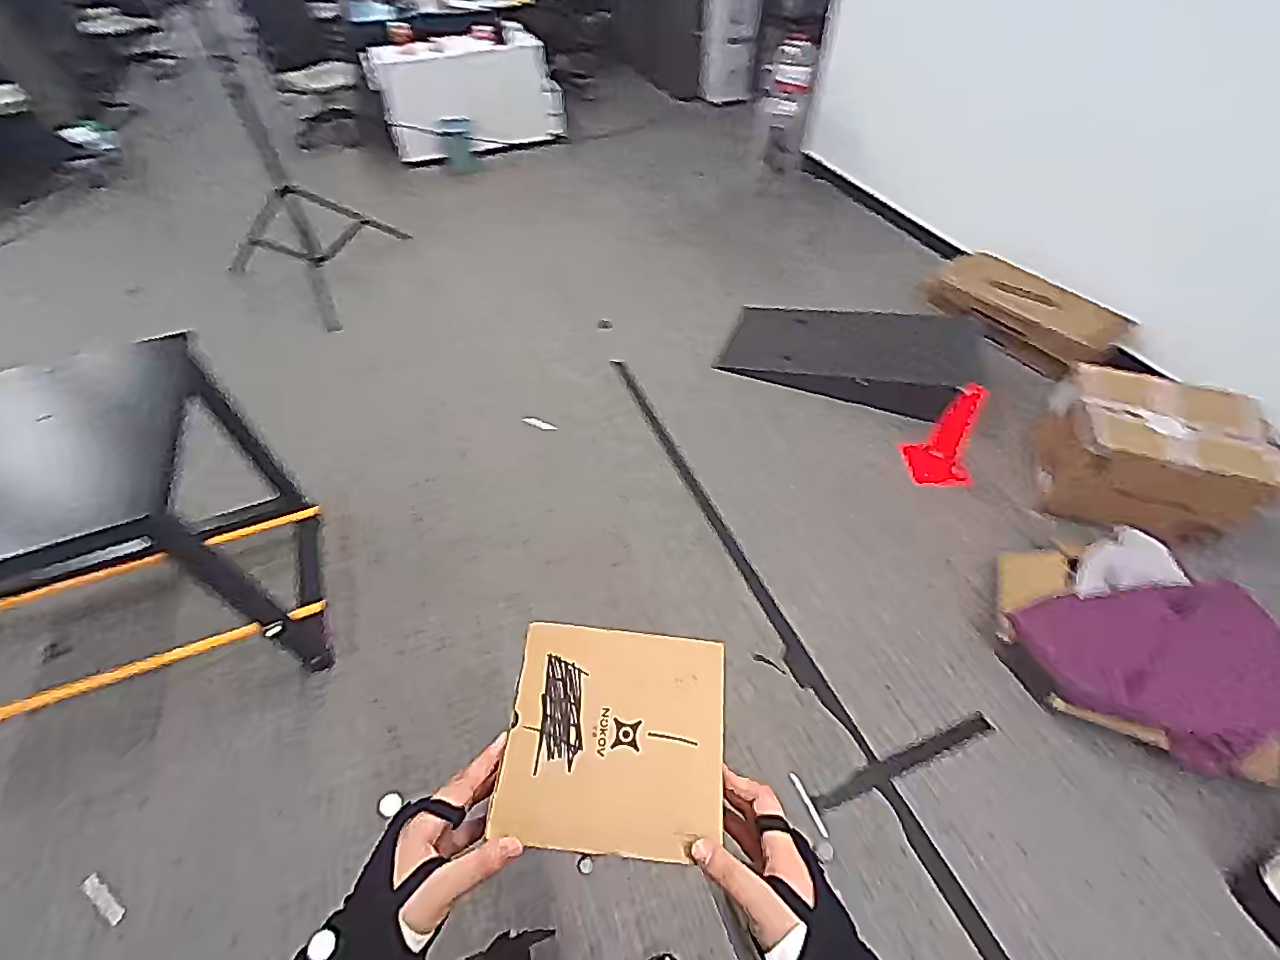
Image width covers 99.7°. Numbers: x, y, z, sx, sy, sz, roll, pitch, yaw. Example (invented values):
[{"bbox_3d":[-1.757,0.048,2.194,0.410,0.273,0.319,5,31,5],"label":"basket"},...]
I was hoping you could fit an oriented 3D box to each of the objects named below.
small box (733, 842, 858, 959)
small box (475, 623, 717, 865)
[{"bbox_3d":[0.300,0.869,1.091,0.179,0.176,0.168,-20,53,-14],"label":"small box"},{"bbox_3d":[-0.030,0.244,0.492,0.179,0.176,0.168,5,56,-1],"label":"small box"}]
